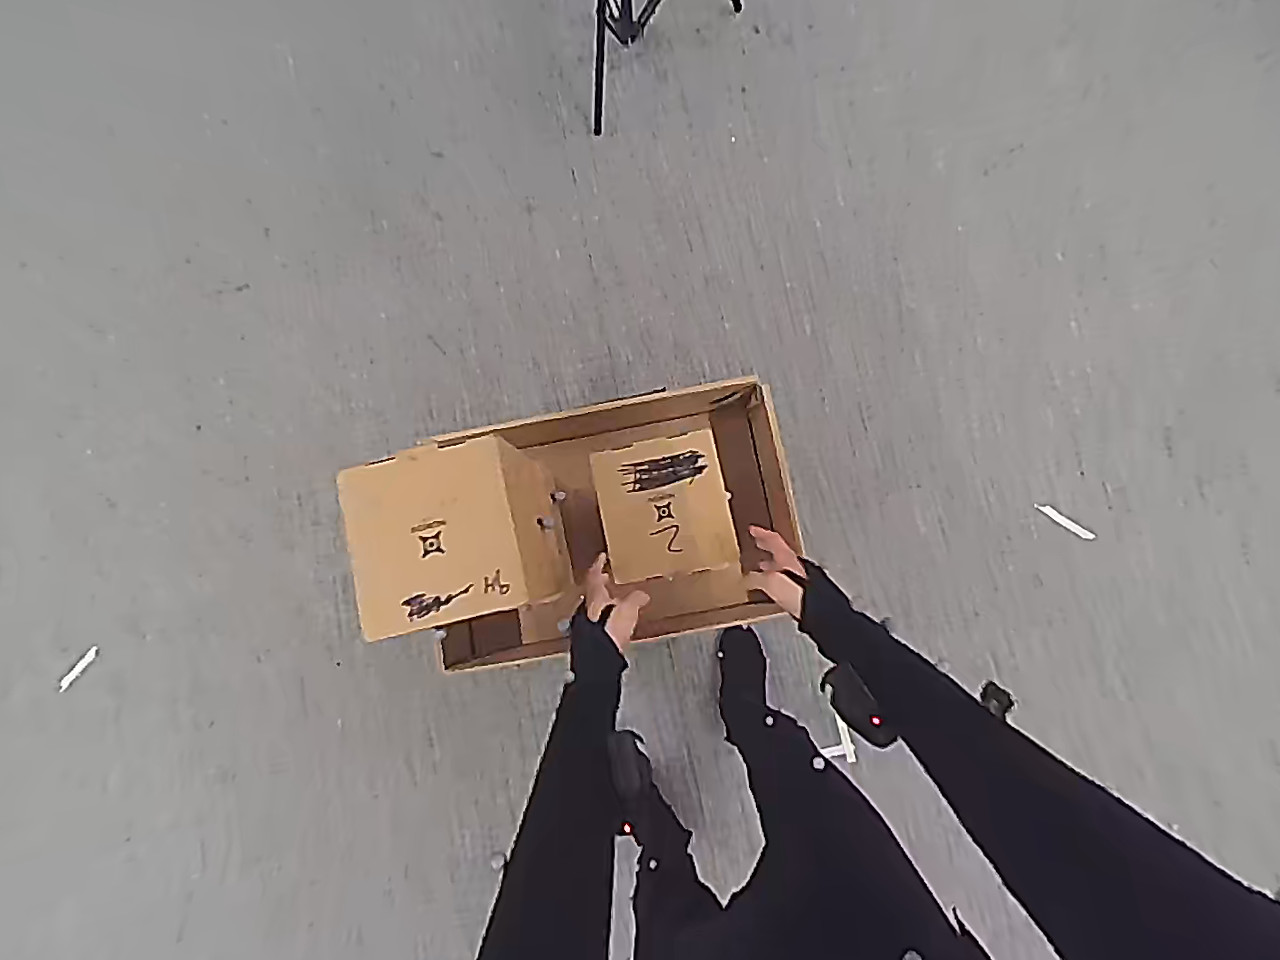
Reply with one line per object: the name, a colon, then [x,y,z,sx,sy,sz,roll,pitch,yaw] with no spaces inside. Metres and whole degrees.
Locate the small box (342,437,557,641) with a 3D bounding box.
small box: [-0.202,0.069,0.612,0.168,0.176,0.179,-14,81,1]

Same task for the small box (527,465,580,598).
small box: [-0.190,0.091,0.775,0.168,0.176,0.179,-13,82,0]

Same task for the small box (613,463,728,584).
small box: [0.050,0.079,0.934,0.168,0.176,0.179,-9,82,2]
